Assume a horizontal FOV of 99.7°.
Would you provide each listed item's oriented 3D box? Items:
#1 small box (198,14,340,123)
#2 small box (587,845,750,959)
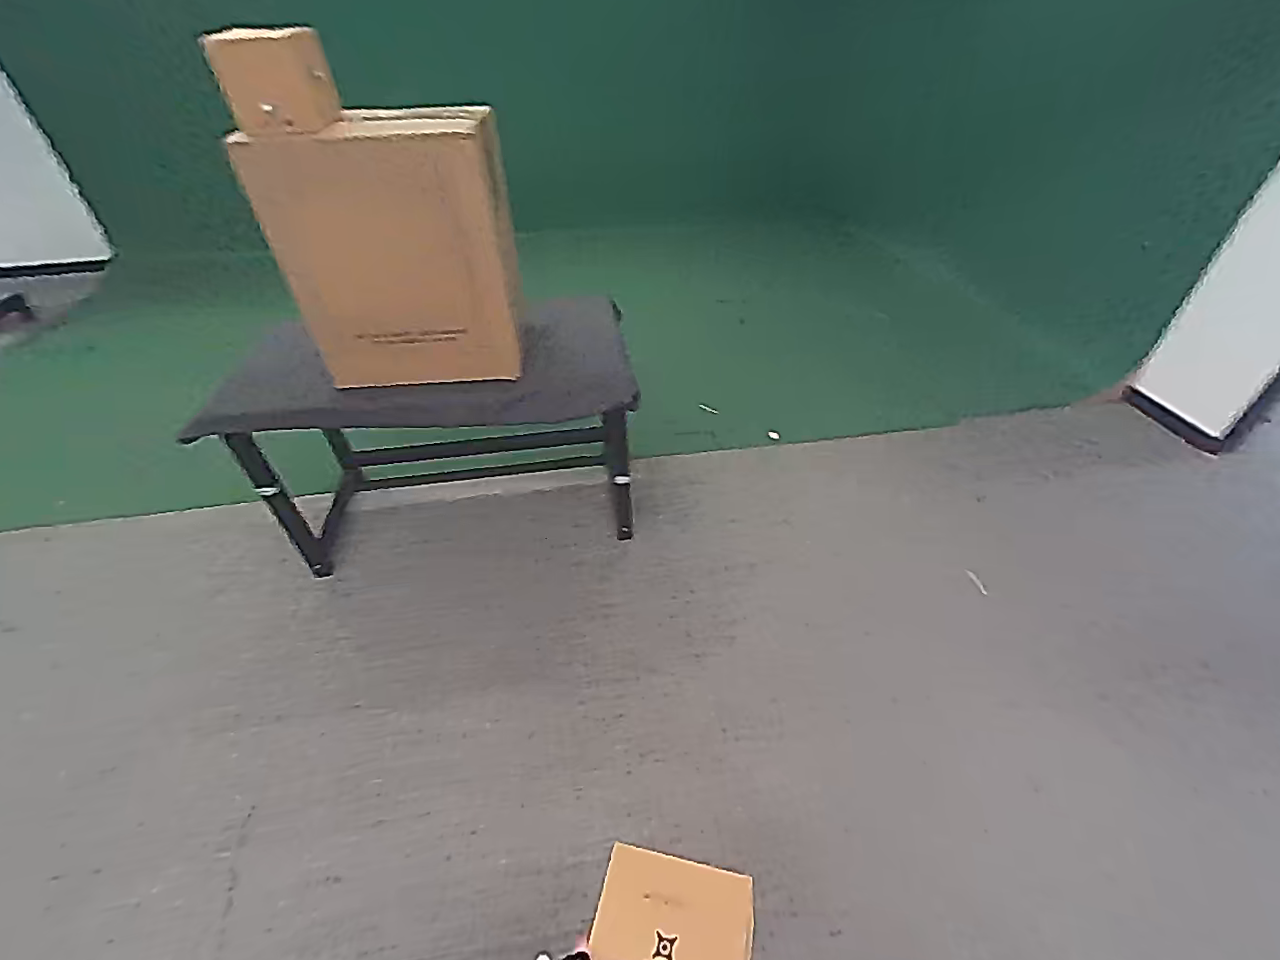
[{"bbox_3d":[-0.778,-0.883,1.161,0.168,0.176,0.179,-4,45,-1],"label":"small box"},{"bbox_3d":[0.036,0.563,0.621,0.168,0.176,0.179,4,40,14],"label":"small box"}]
